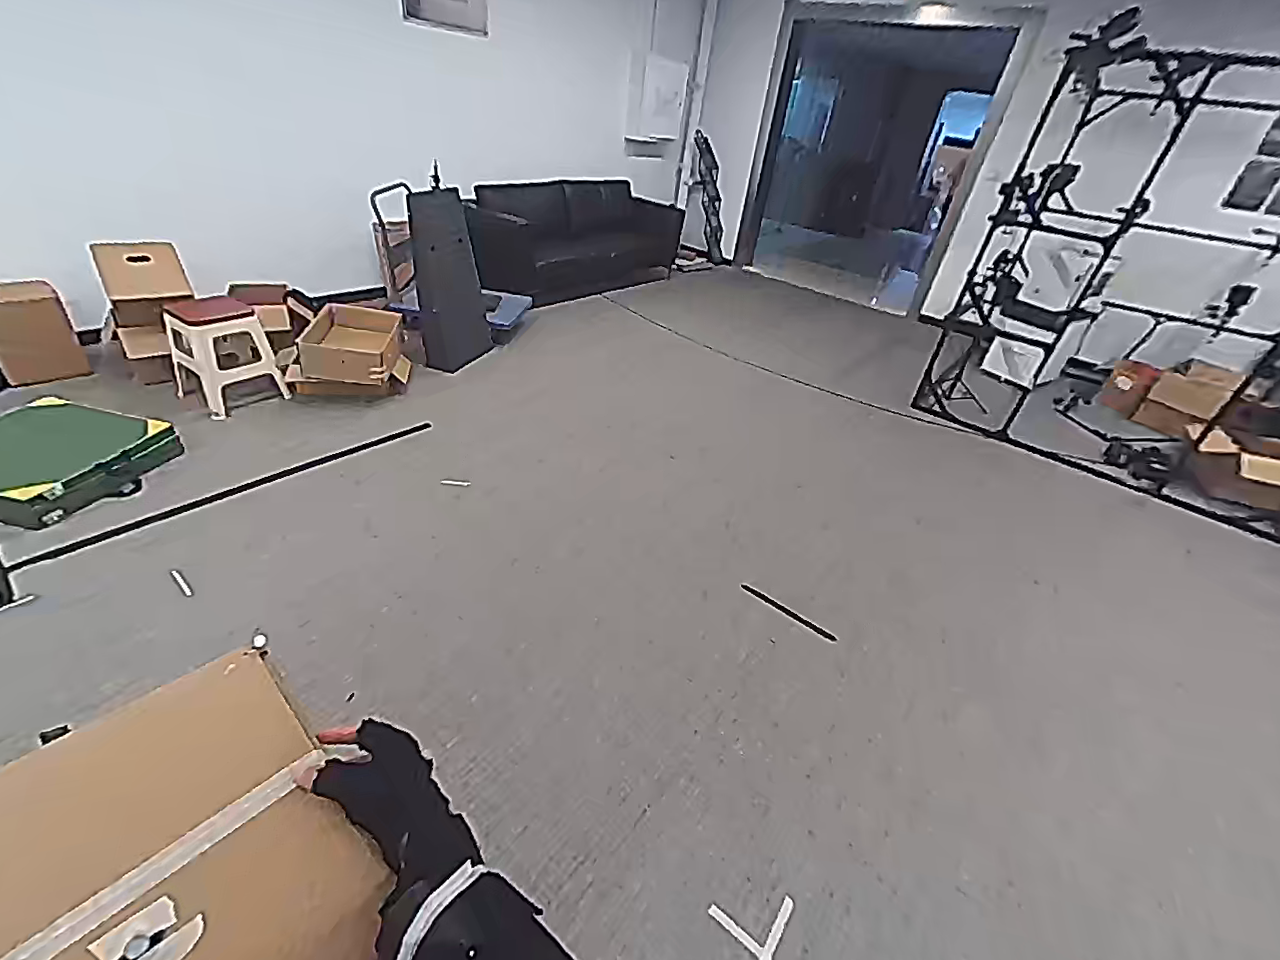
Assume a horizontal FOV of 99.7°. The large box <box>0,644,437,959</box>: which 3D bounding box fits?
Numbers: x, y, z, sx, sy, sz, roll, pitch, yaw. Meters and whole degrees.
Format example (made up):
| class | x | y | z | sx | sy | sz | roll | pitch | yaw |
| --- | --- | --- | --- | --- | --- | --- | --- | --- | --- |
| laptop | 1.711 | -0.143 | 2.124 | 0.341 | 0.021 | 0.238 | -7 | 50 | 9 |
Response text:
| class | x | y | z | sx | sy | sz | roll | pitch | yaw |
| --- | --- | --- | --- | --- | --- | --- | --- | --- | --- |
| large box | -0.434 | 0.434 | 0.449 | 0.320 | 0.320 | 0.408 | 37 | 44 | 25 |
